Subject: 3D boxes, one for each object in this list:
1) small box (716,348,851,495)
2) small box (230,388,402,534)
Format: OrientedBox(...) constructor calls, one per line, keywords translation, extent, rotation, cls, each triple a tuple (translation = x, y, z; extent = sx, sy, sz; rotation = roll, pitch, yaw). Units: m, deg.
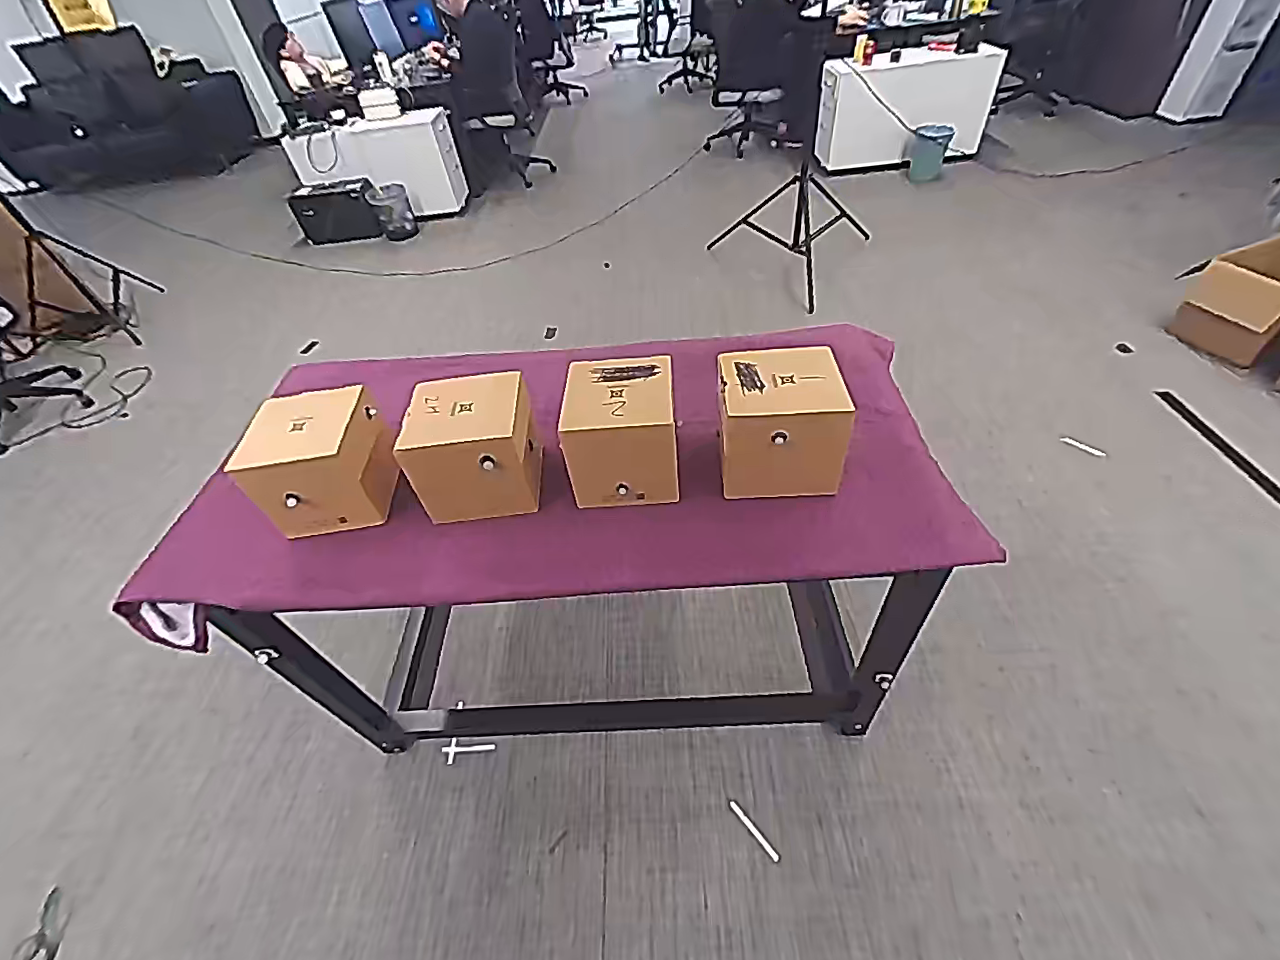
OrientedBox(translation=(0.214, -0.089, 0.854), extent=(0.179, 0.176, 0.168), rotation=(-2, 45, 5), cls="small box")
OrientedBox(translation=(-0.519, -0.025, 0.900), extent=(0.168, 0.176, 0.179), rotation=(-9, 45, -1), cls="small box")
